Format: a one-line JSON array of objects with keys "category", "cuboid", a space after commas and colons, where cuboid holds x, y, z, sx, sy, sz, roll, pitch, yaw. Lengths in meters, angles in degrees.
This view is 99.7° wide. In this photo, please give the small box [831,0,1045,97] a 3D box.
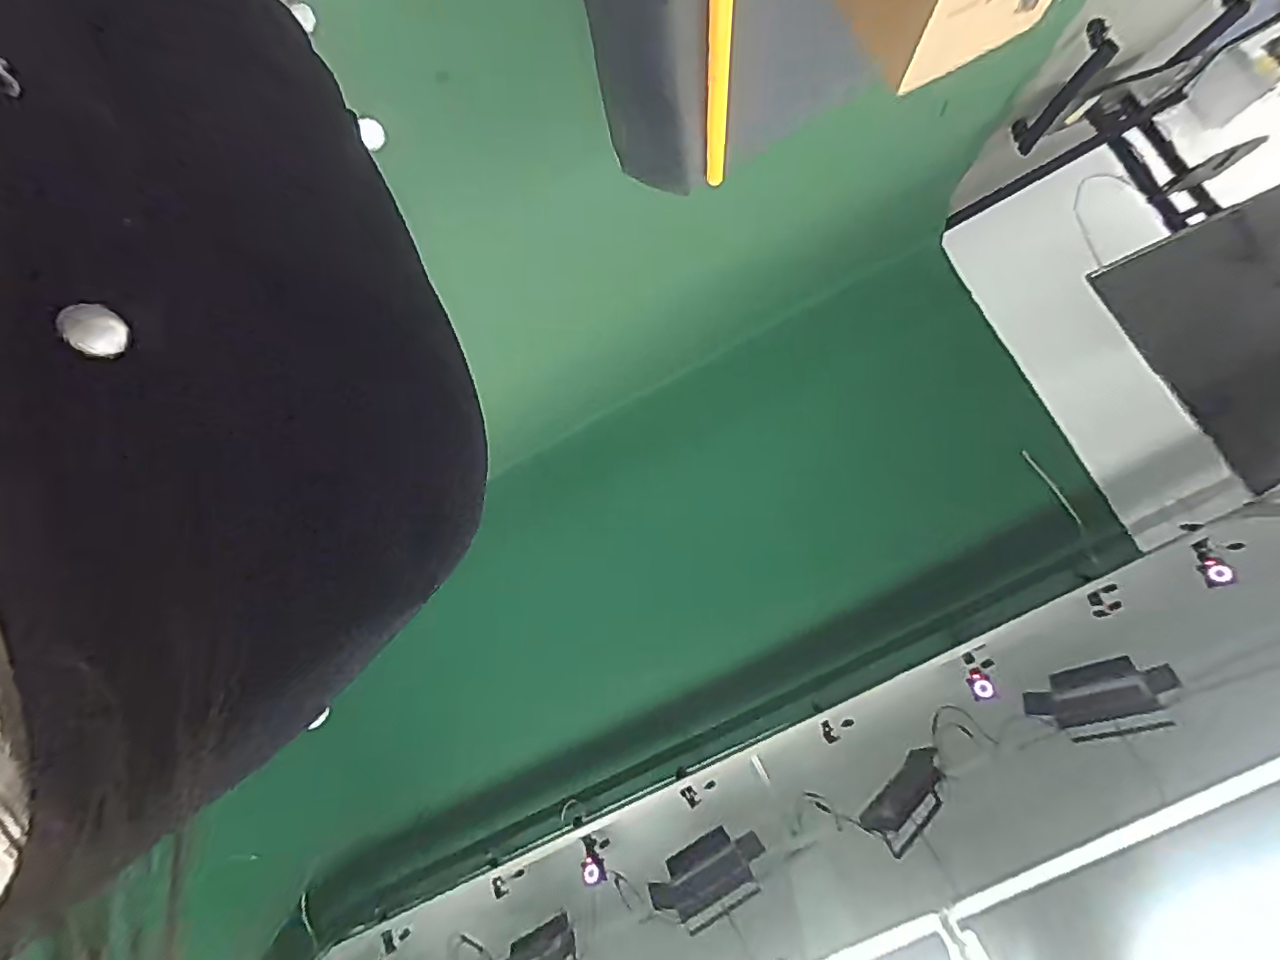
[{"category": "small box", "cuboid": [0.314, -0.549, 0.536, 0.179, 0.176, 0.168, -28, 171, 2]}]
